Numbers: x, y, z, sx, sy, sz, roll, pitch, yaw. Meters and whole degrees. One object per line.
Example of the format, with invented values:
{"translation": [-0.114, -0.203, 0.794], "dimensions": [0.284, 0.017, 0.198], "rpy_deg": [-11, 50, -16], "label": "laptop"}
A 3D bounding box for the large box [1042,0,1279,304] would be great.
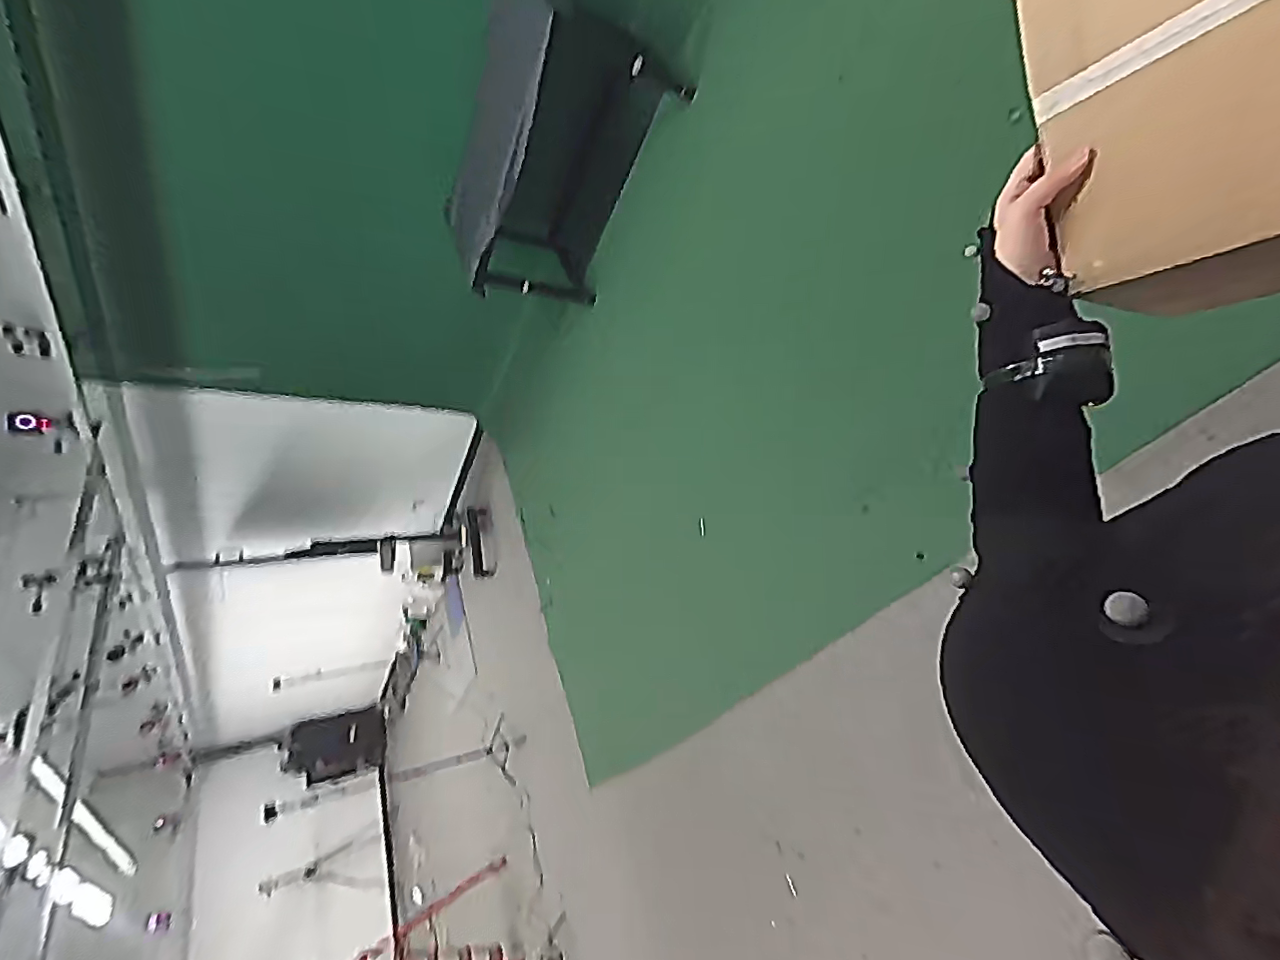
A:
{"translation": [0.587, -0.345, 0.371], "dimensions": [0.408, 0.320, 0.320], "rpy_deg": [-8, 89, 57], "label": "large box"}
